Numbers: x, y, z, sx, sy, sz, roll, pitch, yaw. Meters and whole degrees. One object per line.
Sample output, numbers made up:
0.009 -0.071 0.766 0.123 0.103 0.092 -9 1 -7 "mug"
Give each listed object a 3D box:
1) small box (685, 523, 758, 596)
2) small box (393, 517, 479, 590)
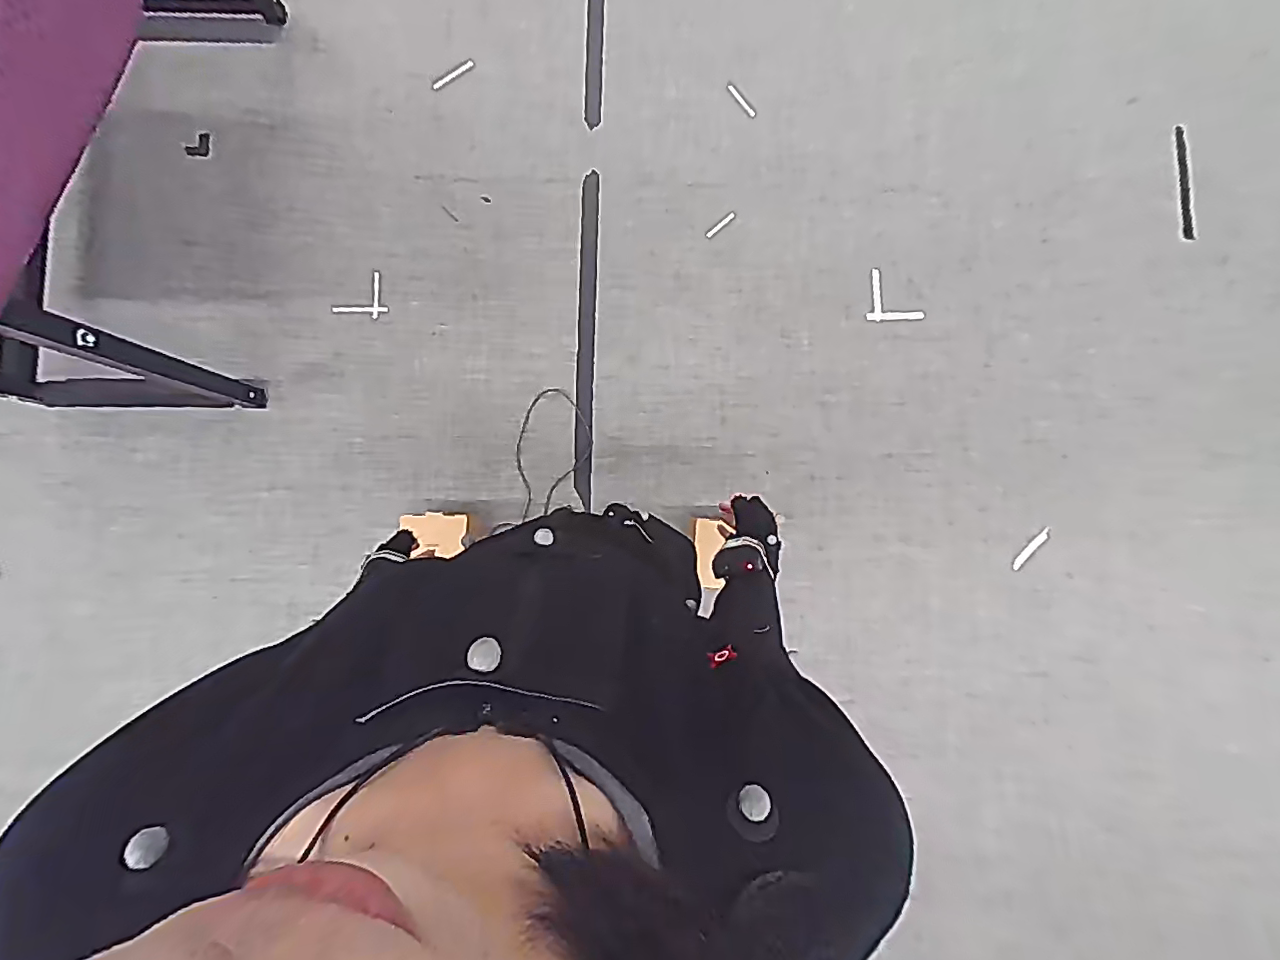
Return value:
0.212 0.207 1.445 0.168 0.176 0.179 3 86 -1 "small box"
-0.521 0.192 1.405 0.168 0.176 0.179 1 83 -3 "small box"
